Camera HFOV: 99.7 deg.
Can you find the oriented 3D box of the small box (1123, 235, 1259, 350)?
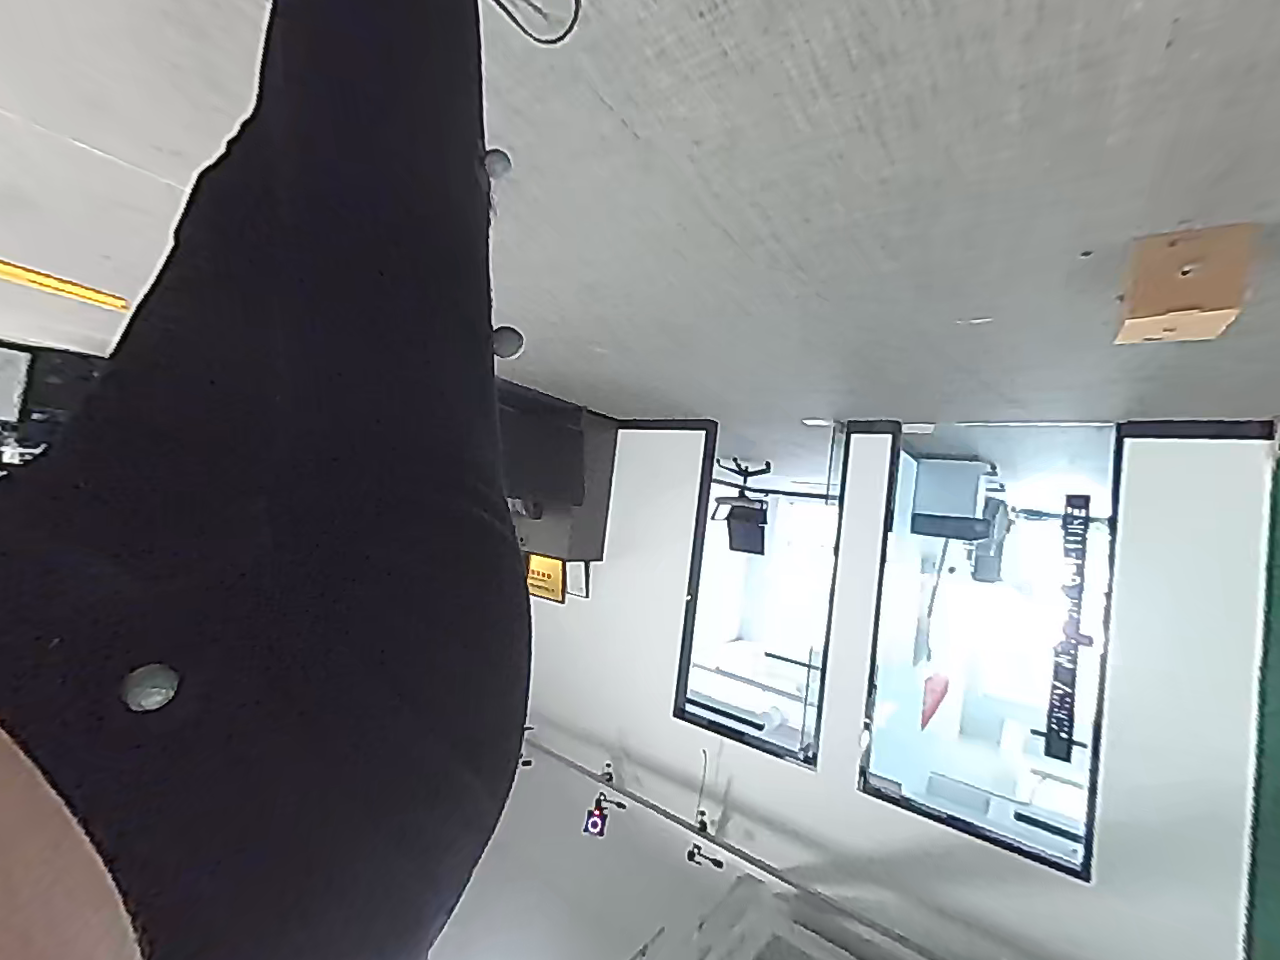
[{"bbox_3d":[1.111,-0.380,1.100,0.168,0.176,0.179,5,176,35],"label":"small box"}]
